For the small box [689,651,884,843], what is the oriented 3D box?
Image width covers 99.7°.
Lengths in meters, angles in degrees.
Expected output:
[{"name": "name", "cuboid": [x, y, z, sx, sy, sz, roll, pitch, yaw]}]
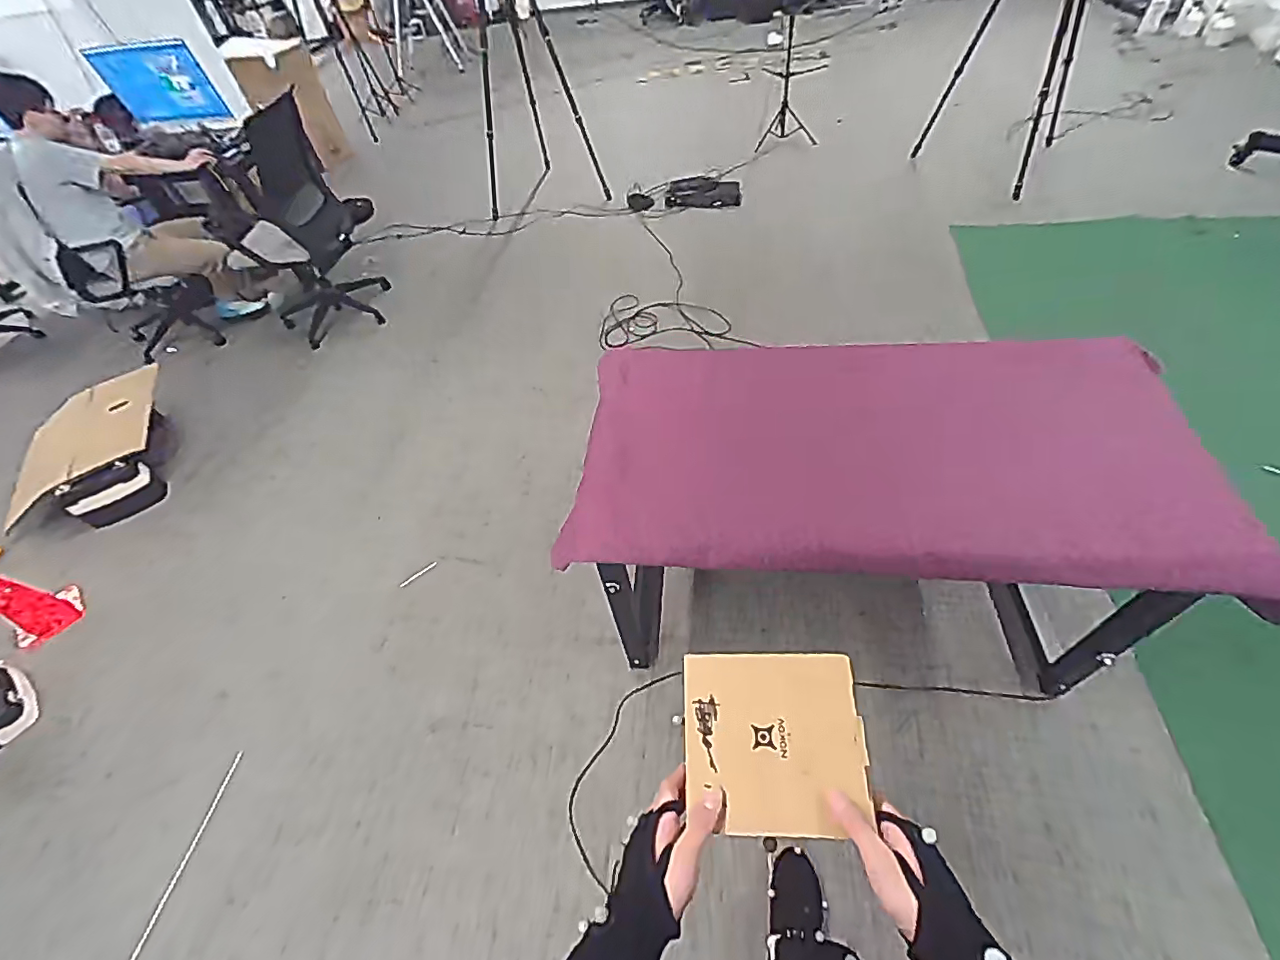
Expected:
[{"name": "small box", "cuboid": [0.144, 0.294, 0.598, 0.179, 0.176, 0.168, -1, 58, 6]}]
